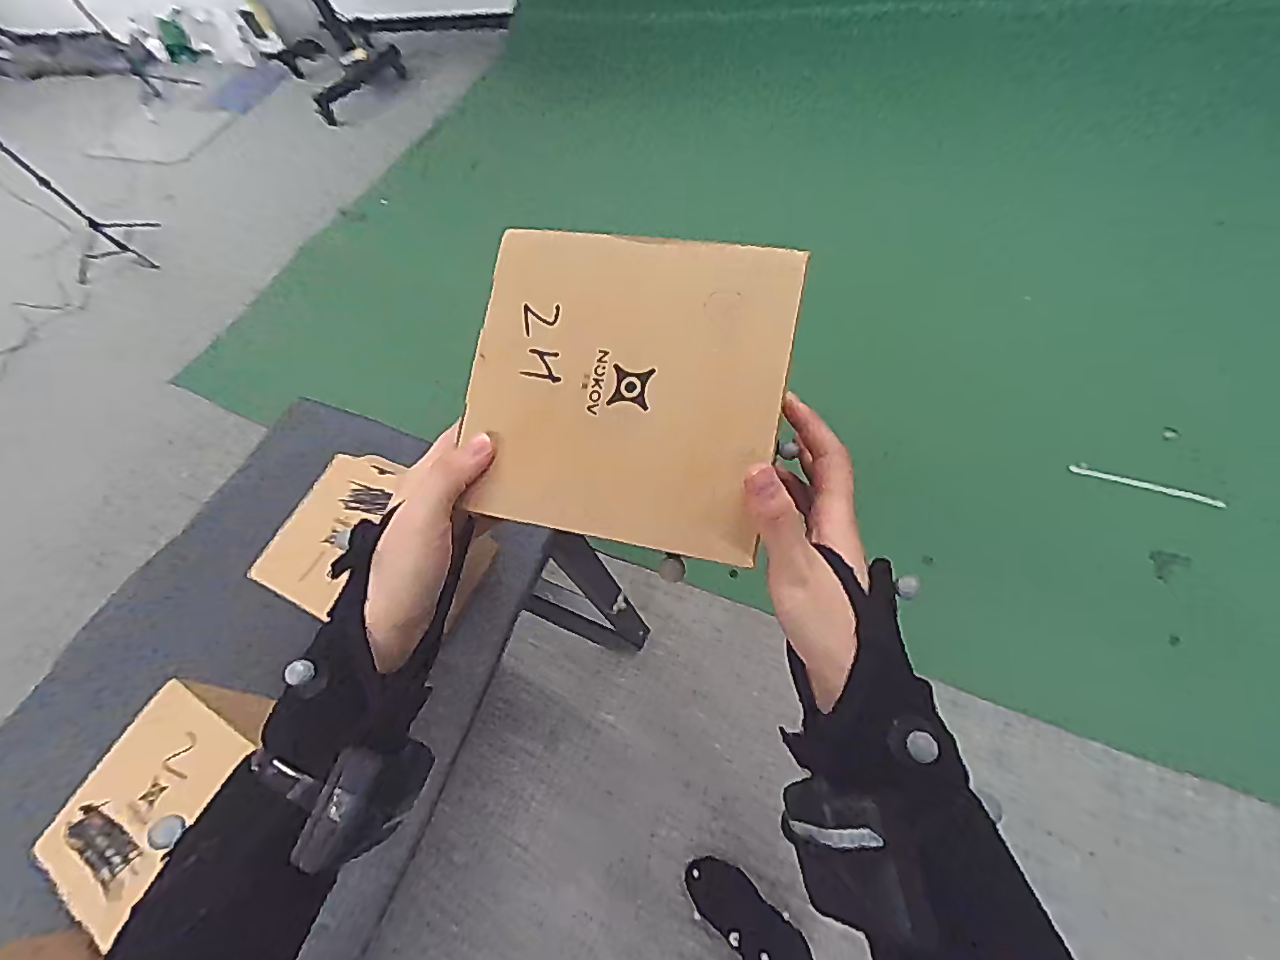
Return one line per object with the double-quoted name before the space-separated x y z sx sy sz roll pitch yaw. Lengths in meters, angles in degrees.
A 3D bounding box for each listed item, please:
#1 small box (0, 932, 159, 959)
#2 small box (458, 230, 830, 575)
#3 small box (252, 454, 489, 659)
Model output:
"small box" -0.561 0.549 0.482 0.179 0.176 0.168 19 67 24
"small box" 0.014 -0.039 0.364 0.179 0.176 0.168 11 85 14
"small box" -0.319 0.099 0.682 0.168 0.176 0.179 18 67 25
